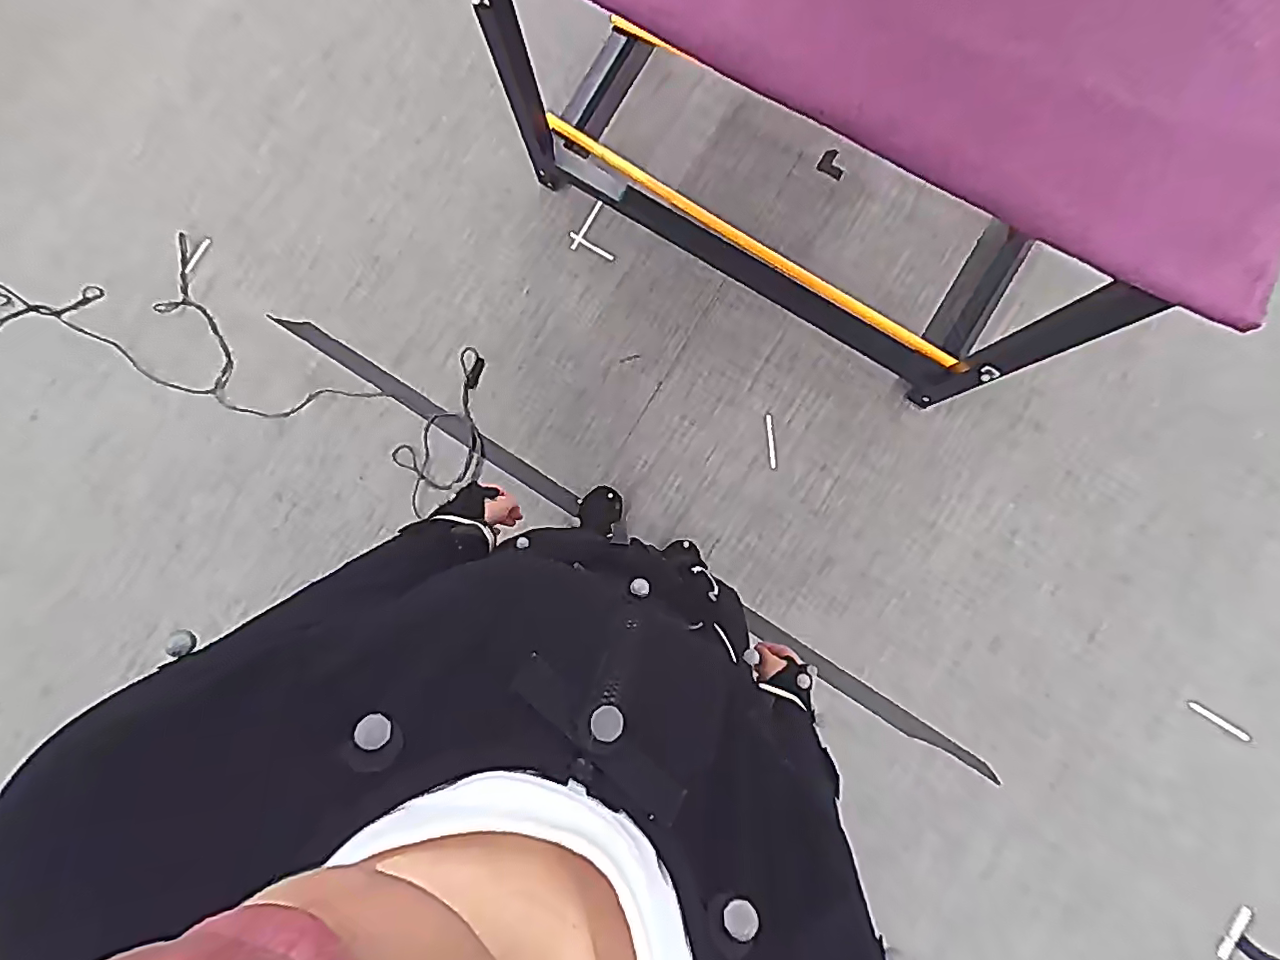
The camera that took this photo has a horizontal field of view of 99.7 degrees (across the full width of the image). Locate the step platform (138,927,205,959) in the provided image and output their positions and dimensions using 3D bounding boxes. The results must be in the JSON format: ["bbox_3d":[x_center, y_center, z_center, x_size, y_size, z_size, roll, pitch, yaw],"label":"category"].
[{"bbox_3d":[-0.963,1.397,1.247,0.684,0.204,0.286,32,88,2],"label":"step platform"}]
